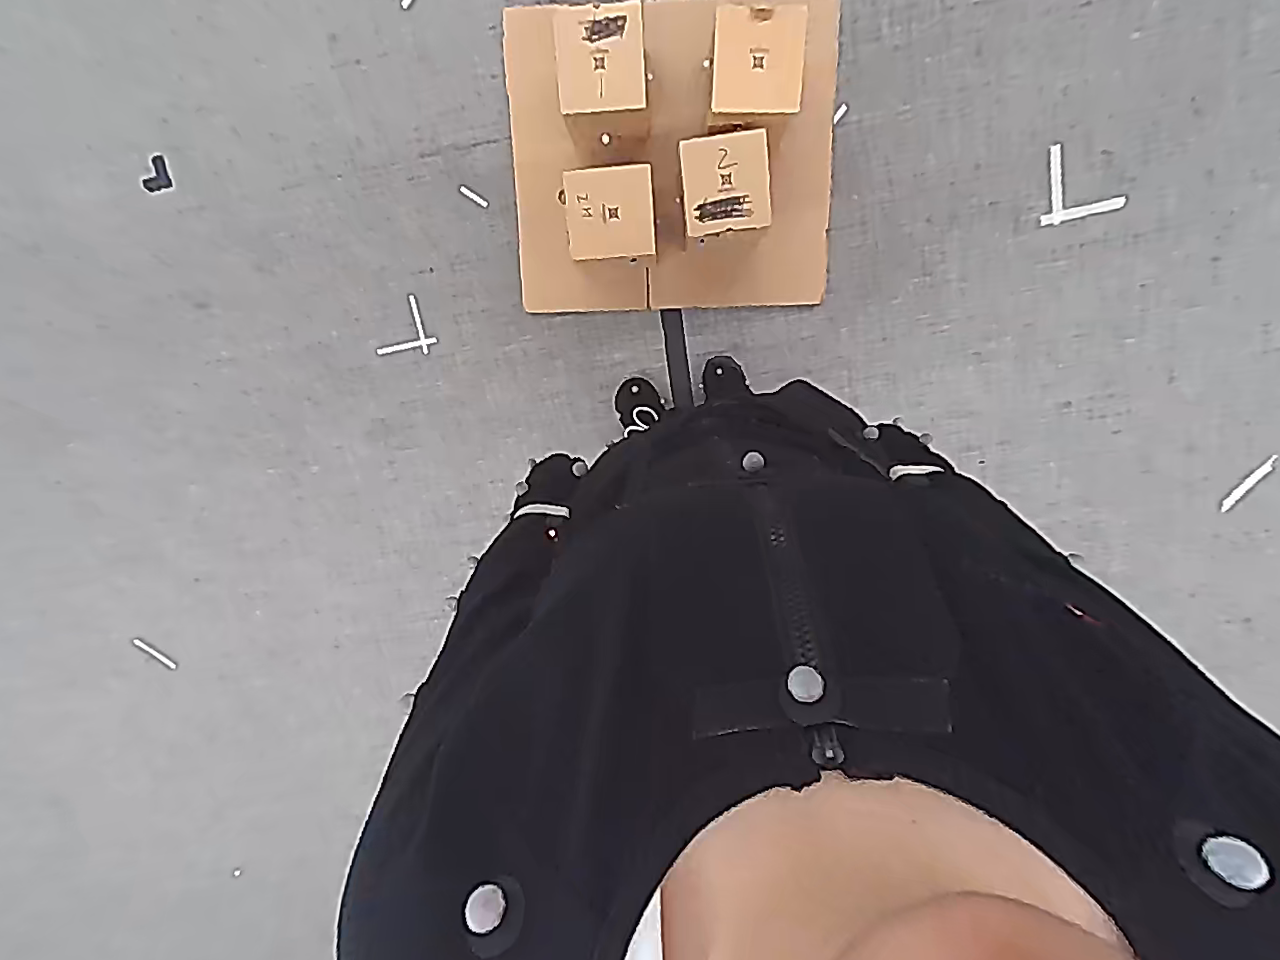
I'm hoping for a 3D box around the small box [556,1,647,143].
[{"bbox_3d":[-0.070,-0.806,1.085,0.168,0.176,0.179,-2,105,2],"label":"small box"}]
